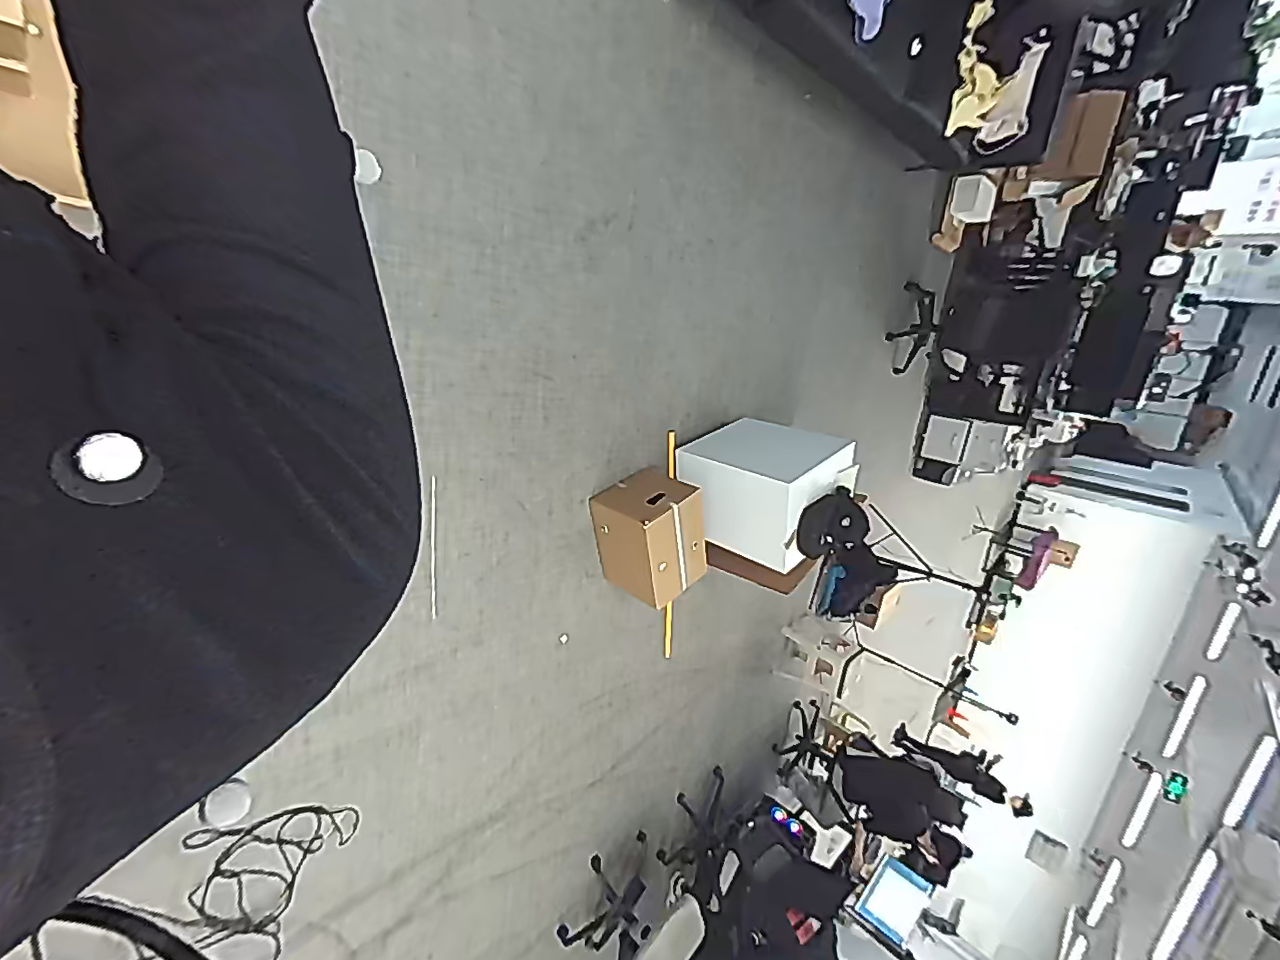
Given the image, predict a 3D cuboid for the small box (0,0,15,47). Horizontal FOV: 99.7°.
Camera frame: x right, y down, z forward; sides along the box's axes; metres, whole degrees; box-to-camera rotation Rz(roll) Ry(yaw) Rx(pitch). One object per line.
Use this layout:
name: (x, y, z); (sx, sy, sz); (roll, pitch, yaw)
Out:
small box: (-0.864, -0.649, 0.626); (0.168, 0.176, 0.179); (-12, 112, -46)

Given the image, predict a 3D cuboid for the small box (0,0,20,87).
small box: (-0.981, -0.682, 0.736); (0.168, 0.176, 0.179); (-7, 110, -47)
